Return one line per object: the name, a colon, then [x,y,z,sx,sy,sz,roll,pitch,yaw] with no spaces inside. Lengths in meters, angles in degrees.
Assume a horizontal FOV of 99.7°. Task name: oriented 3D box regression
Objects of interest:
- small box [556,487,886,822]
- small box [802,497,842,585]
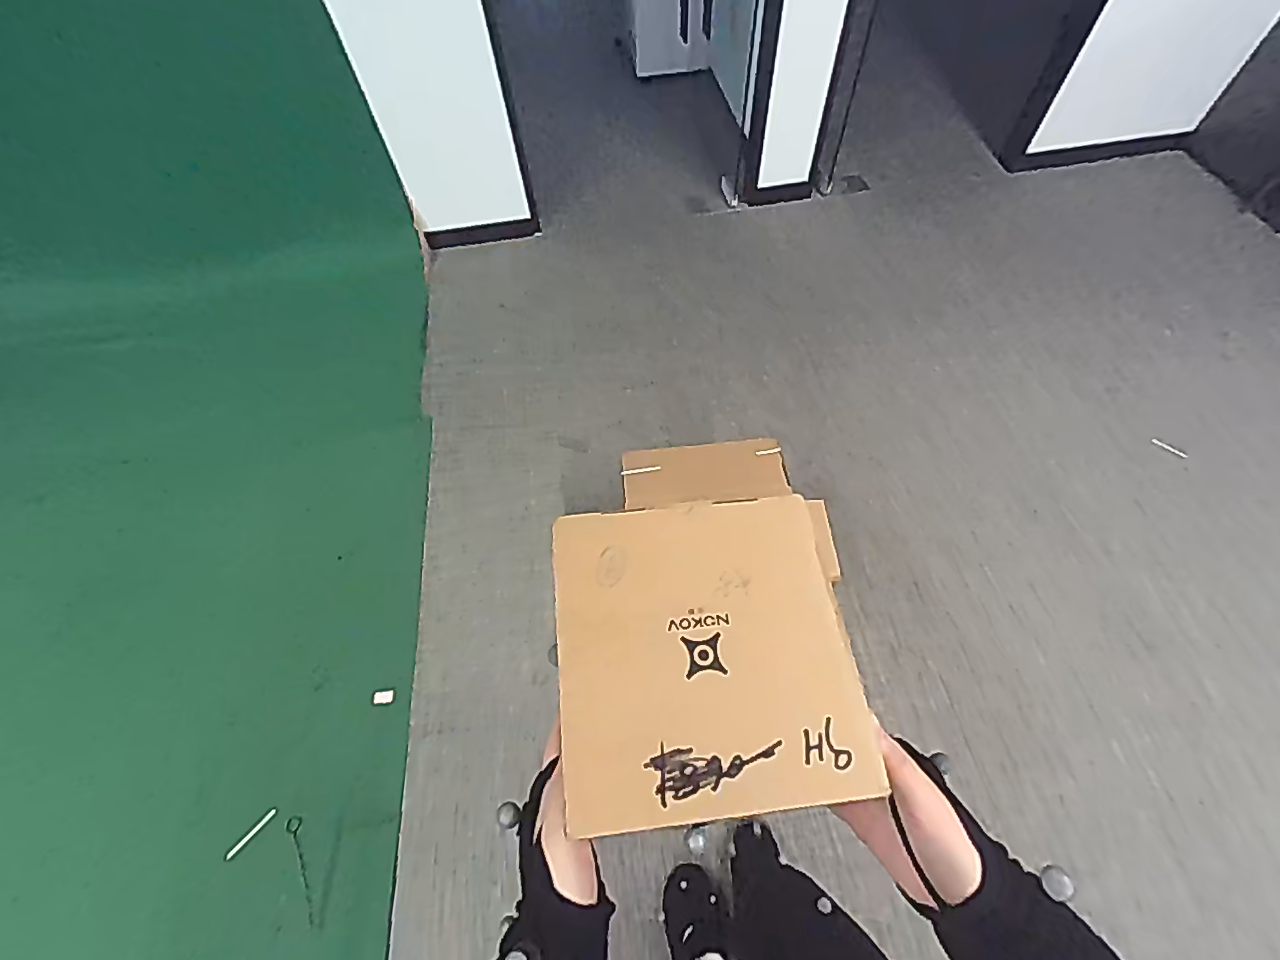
small box: [0.034,0.126,0.377,0.168,0.176,0.179,-6,60,-3]
small box: [0.299,0.153,1.119,0.168,0.176,0.179,-2,58,1]
